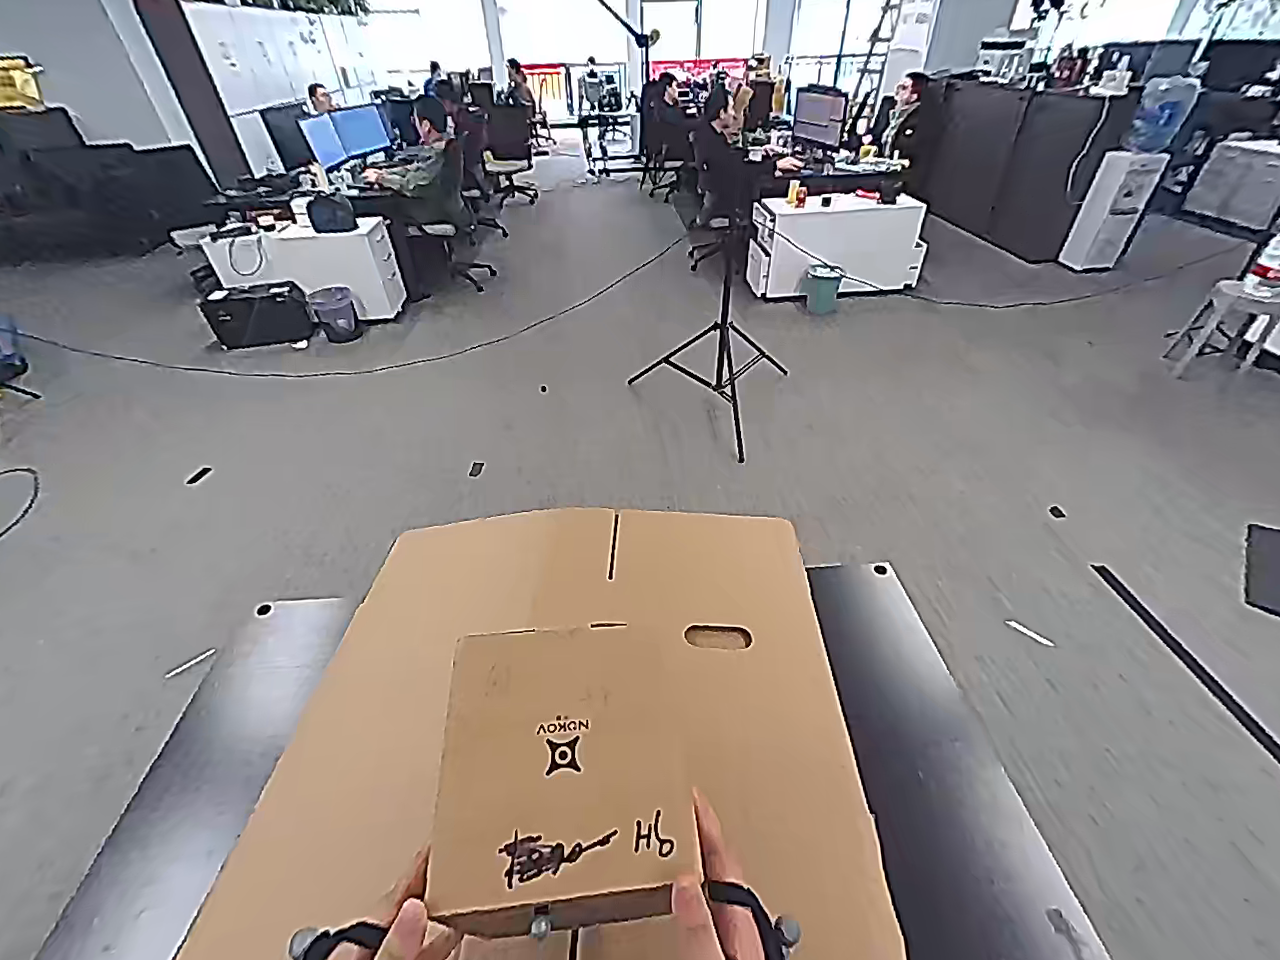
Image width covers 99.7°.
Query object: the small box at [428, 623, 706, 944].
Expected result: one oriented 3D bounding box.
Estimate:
[{"bbox_3d":[-0.052,0.238,0.429,0.168,0.176,0.179,-4,46,-5],"label":"small box"}]
